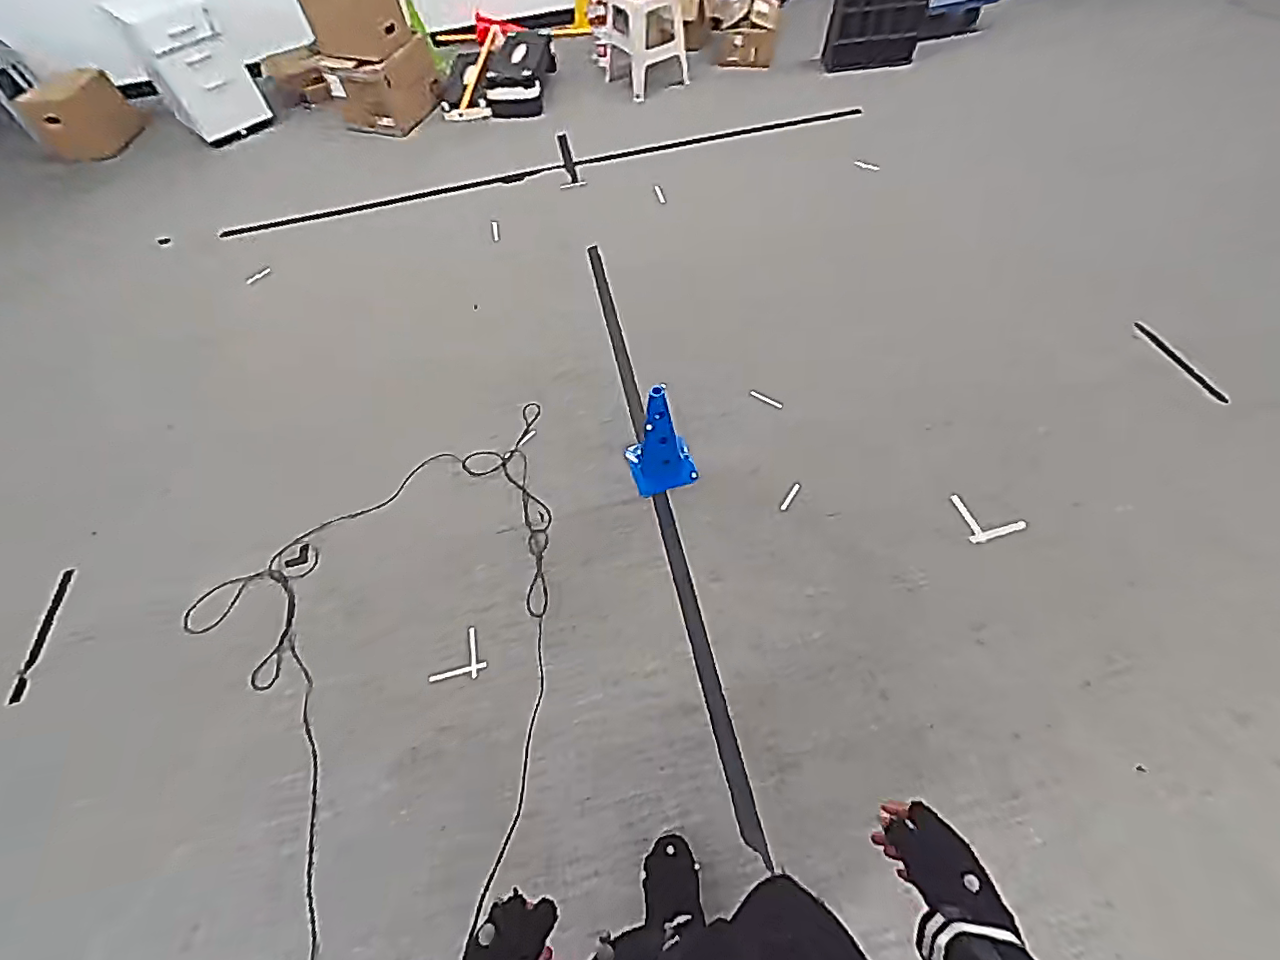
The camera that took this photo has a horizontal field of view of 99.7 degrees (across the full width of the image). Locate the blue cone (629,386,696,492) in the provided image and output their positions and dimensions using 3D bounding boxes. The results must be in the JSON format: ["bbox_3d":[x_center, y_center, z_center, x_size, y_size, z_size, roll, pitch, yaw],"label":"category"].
[{"bbox_3d":[0.060,-0.140,1.619,0.192,0.380,0.193,-15,58,-6],"label":"blue cone"}]
